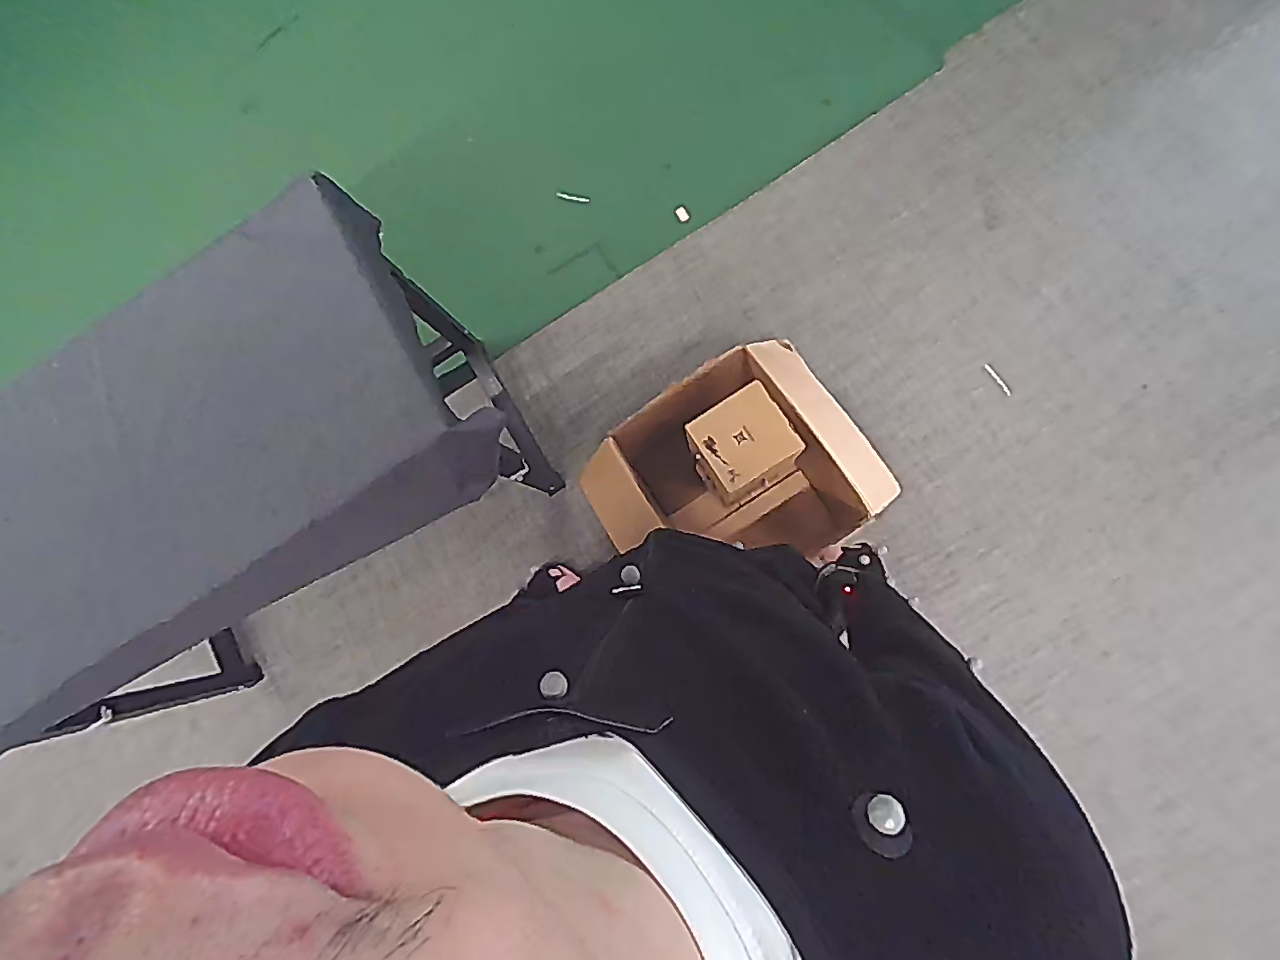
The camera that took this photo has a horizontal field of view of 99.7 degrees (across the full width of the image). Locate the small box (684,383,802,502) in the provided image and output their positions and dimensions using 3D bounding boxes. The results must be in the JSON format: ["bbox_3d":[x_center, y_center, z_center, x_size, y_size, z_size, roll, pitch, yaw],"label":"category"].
[{"bbox_3d":[0.206,-0.071,1.131,0.179,0.176,0.168,-32,79,0],"label":"small box"}]
